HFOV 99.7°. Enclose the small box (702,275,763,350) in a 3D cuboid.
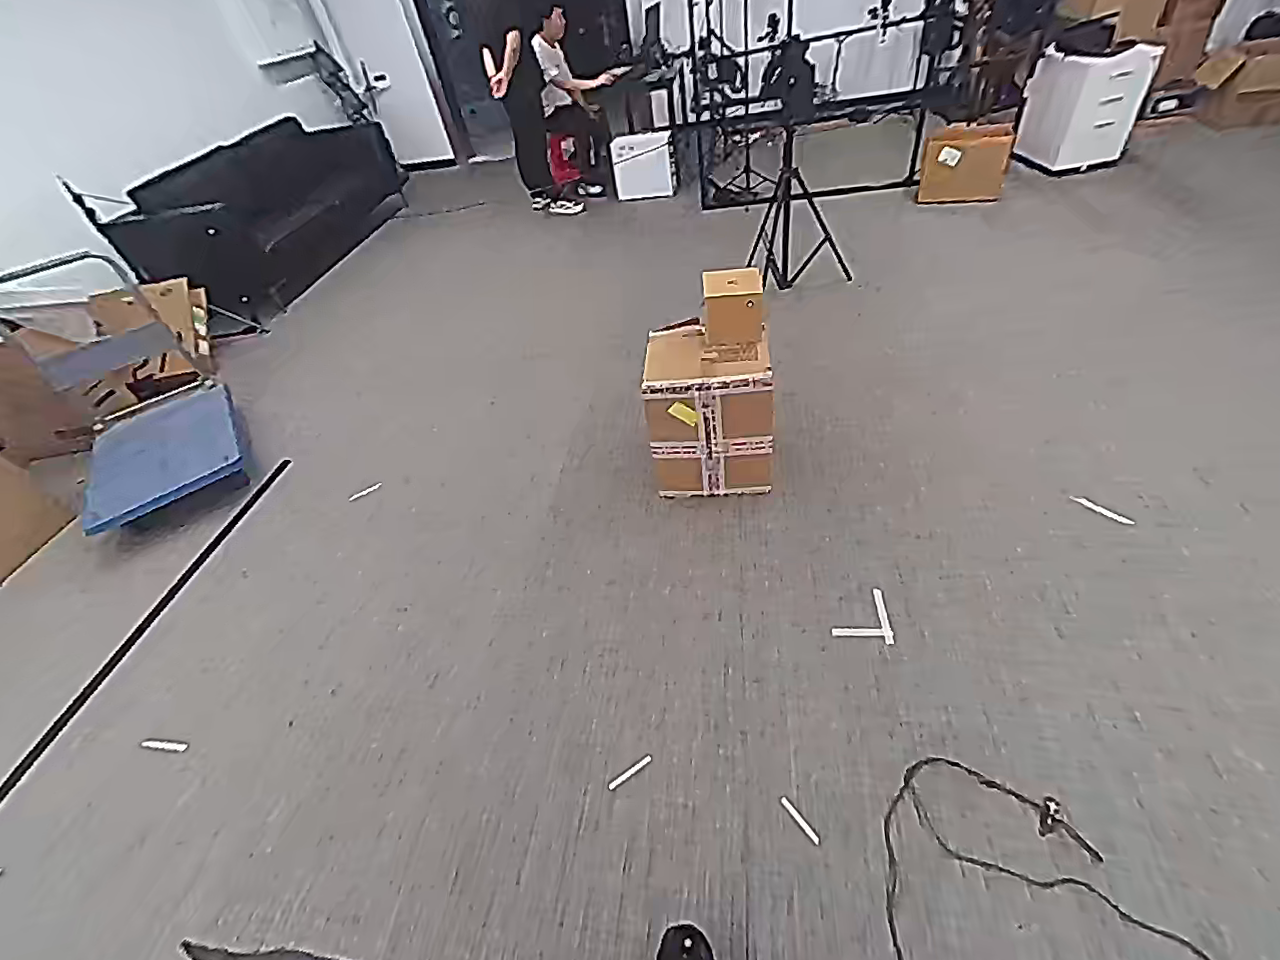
[{"bbox_3d":[0.290,-0.527,1.711,0.179,0.176,0.168,-2,46,7],"label":"small box"}]
